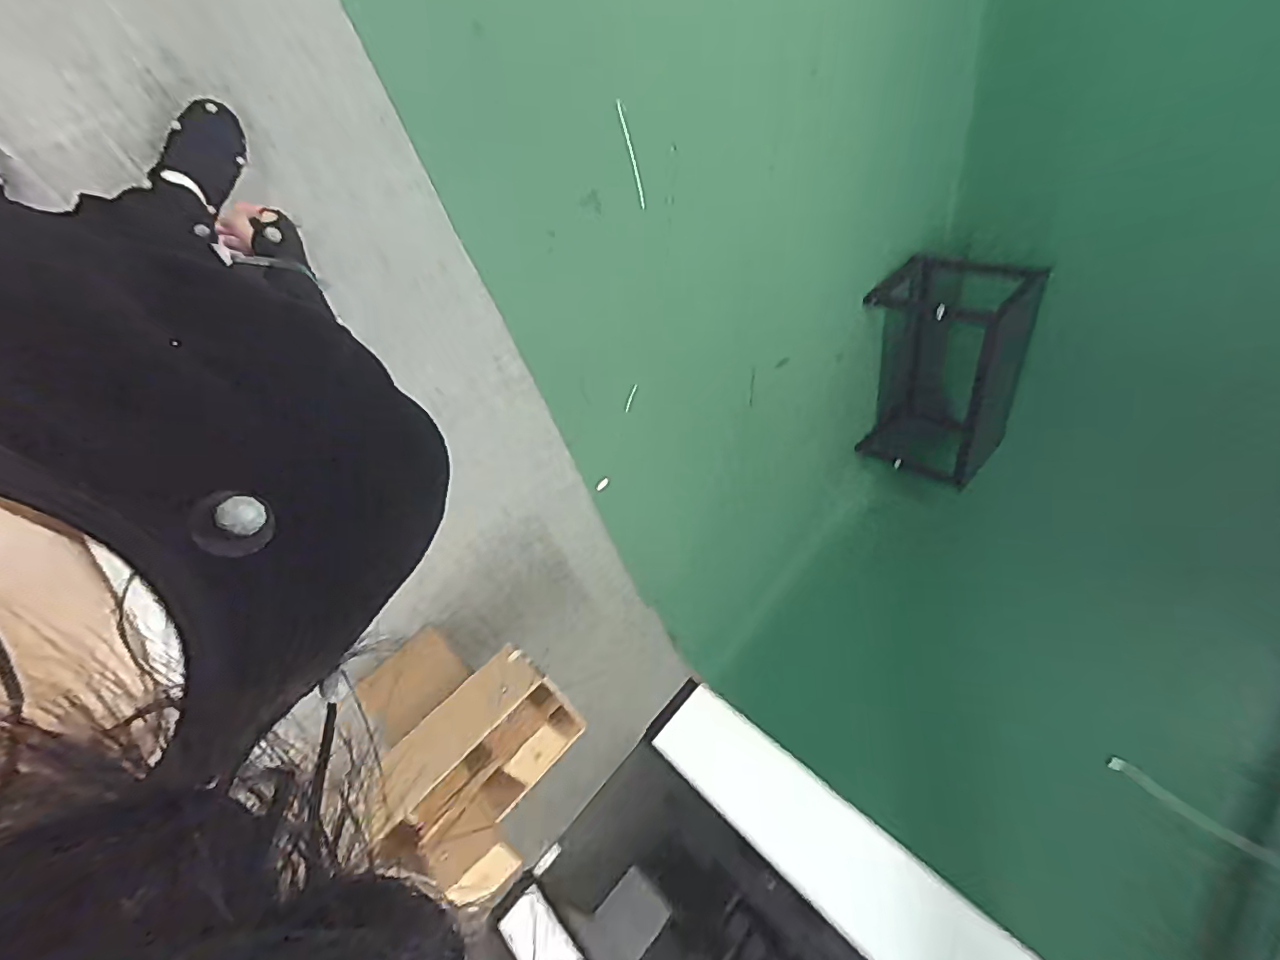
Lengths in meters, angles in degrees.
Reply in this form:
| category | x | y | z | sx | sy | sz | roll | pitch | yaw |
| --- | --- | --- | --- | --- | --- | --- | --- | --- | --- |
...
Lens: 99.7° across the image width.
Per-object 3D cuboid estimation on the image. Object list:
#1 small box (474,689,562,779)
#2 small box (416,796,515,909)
| category | x | y | z | sx | sy | sz | roll | pitch | yaw |
| --- | --- | --- | --- | --- | --- | --- | --- | --- | --- |
| small box | -0.382 | 0.788 | 1.690 | 0.168 | 0.176 | 0.179 | -44 | 138 | -19 |
| small box | -0.474 | 1.000 | 1.465 | 0.168 | 0.176 | 0.179 | -37 | 135 | -25 |
